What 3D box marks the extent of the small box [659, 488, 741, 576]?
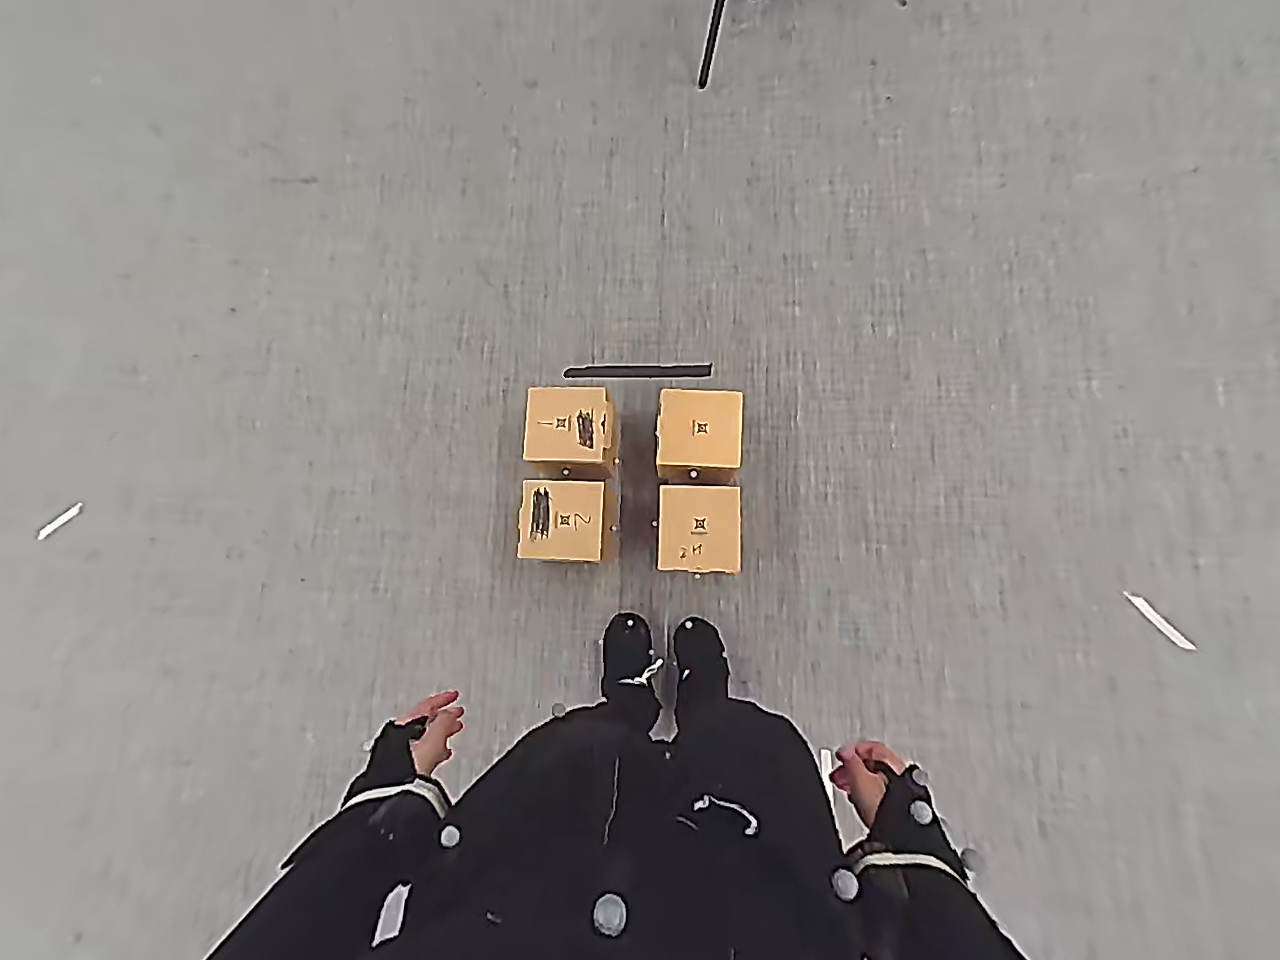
[{"bbox_3d":[0.128,0.117,1.180,0.168,0.176,0.179,1,81,5],"label":"small box"}]
